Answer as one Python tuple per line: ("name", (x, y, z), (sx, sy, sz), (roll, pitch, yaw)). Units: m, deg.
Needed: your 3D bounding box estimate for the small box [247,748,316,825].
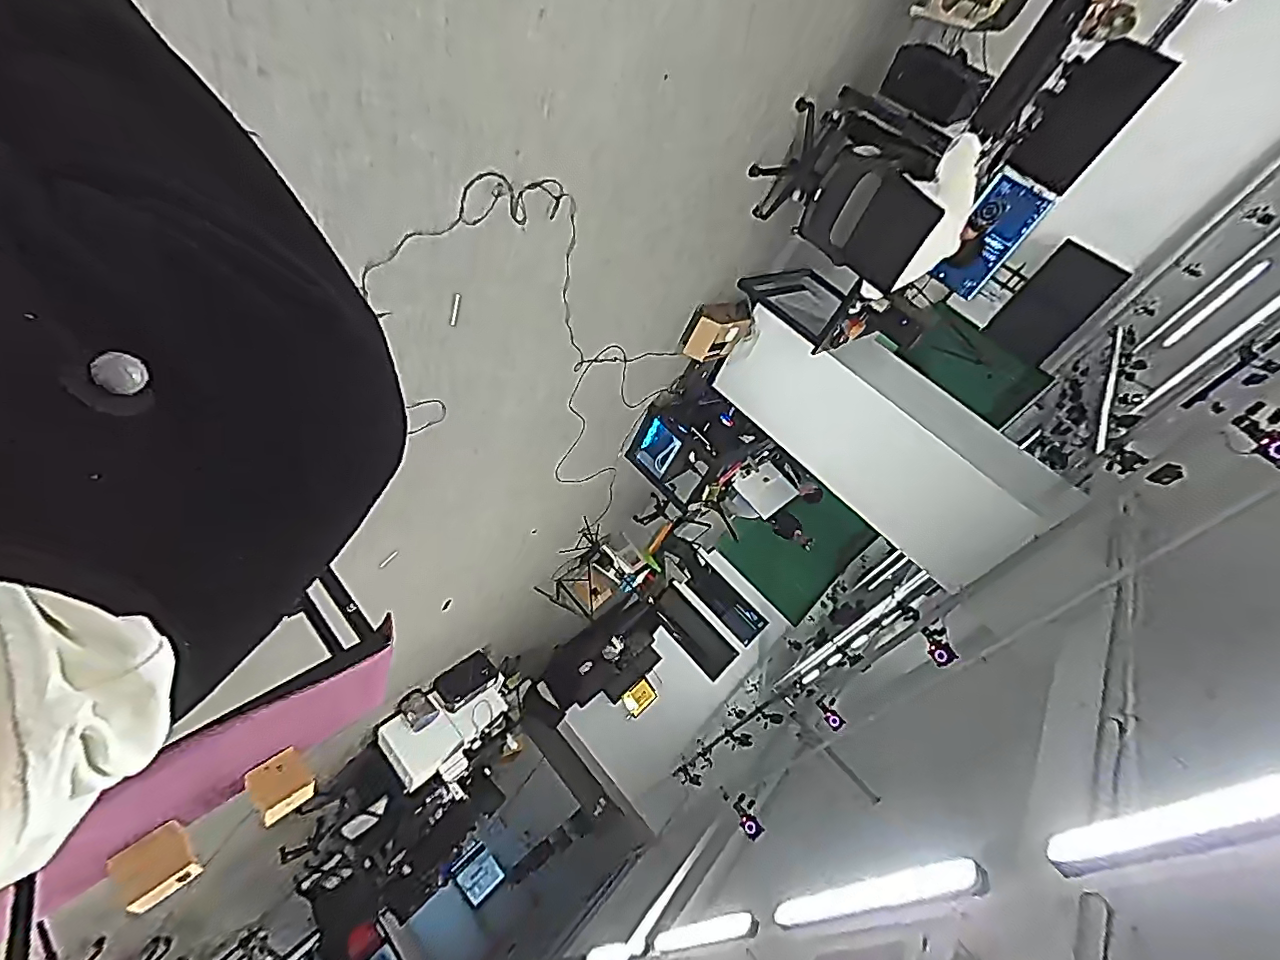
("small box", (-1.358, 1.155, 2.047), (0.168, 0.176, 0.179), (-25, 154, -46))
